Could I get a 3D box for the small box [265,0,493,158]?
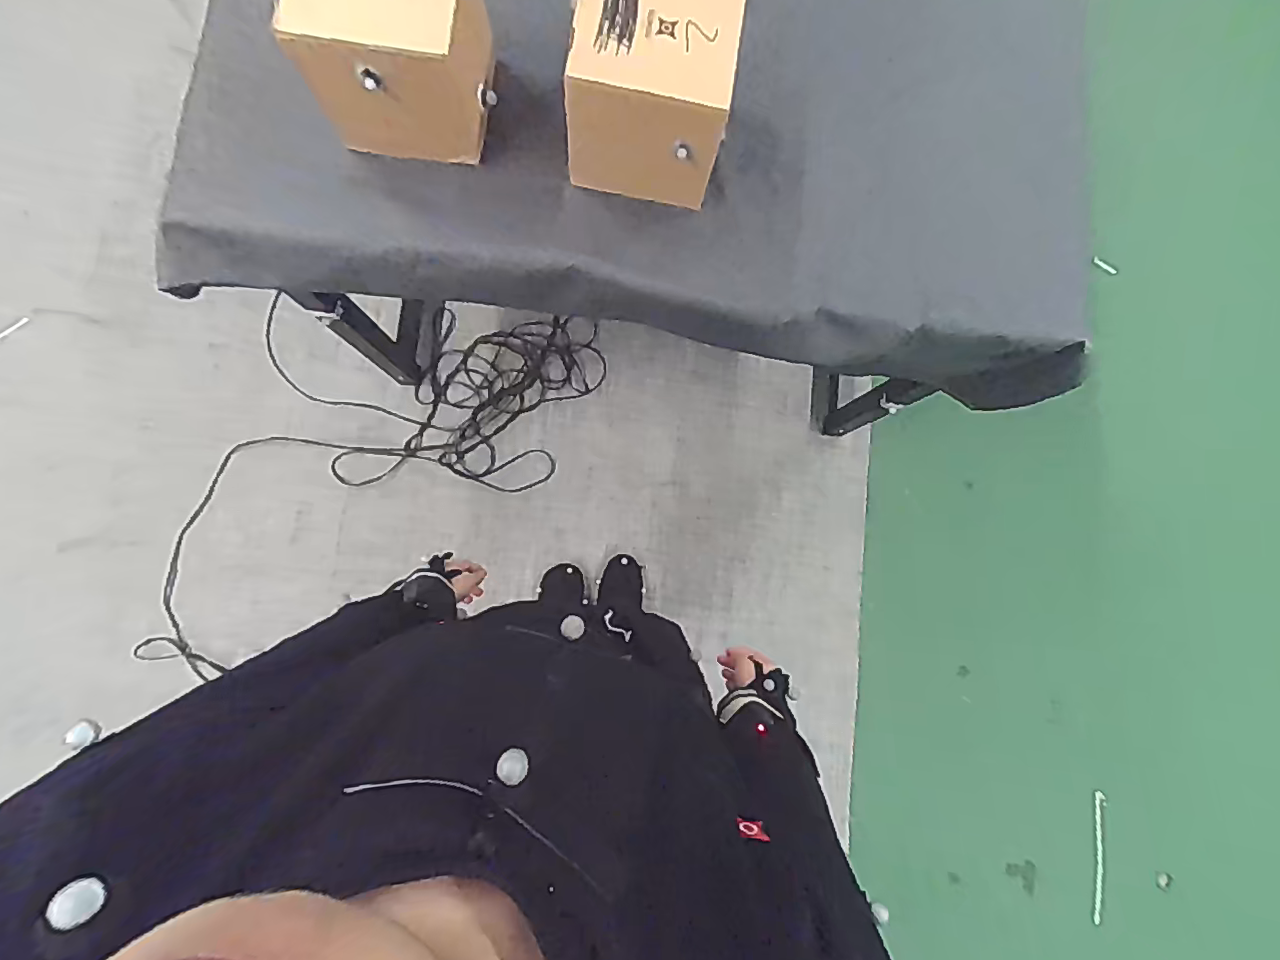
[{"bbox_3d":[-0.281,-0.509,0.625,0.179,0.176,0.168,6,83,-5],"label":"small box"}]
